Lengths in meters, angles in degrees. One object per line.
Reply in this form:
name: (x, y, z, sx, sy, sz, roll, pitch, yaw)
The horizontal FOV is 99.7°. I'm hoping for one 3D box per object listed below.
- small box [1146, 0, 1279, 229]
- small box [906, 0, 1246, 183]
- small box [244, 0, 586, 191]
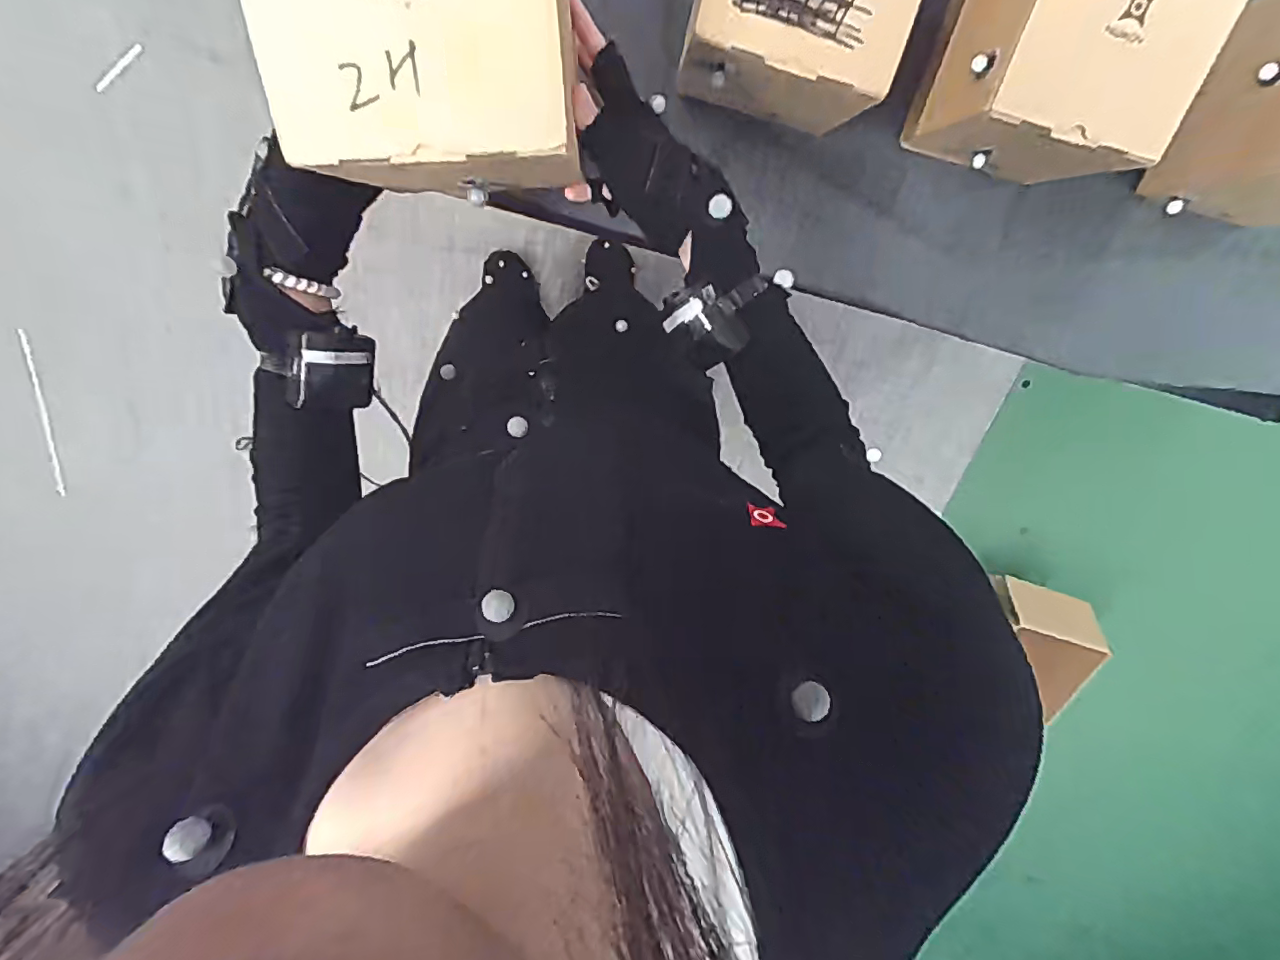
small box: (0.661, -0.352, 0.523, 0.168, 0.176, 0.179, 11, 113, -6)
small box: (0.383, -0.395, 0.499, 0.168, 0.176, 0.179, 11, 114, -7)
small box: (-0.126, -0.297, 0.351, 0.168, 0.176, 0.179, -1, 113, 0)
